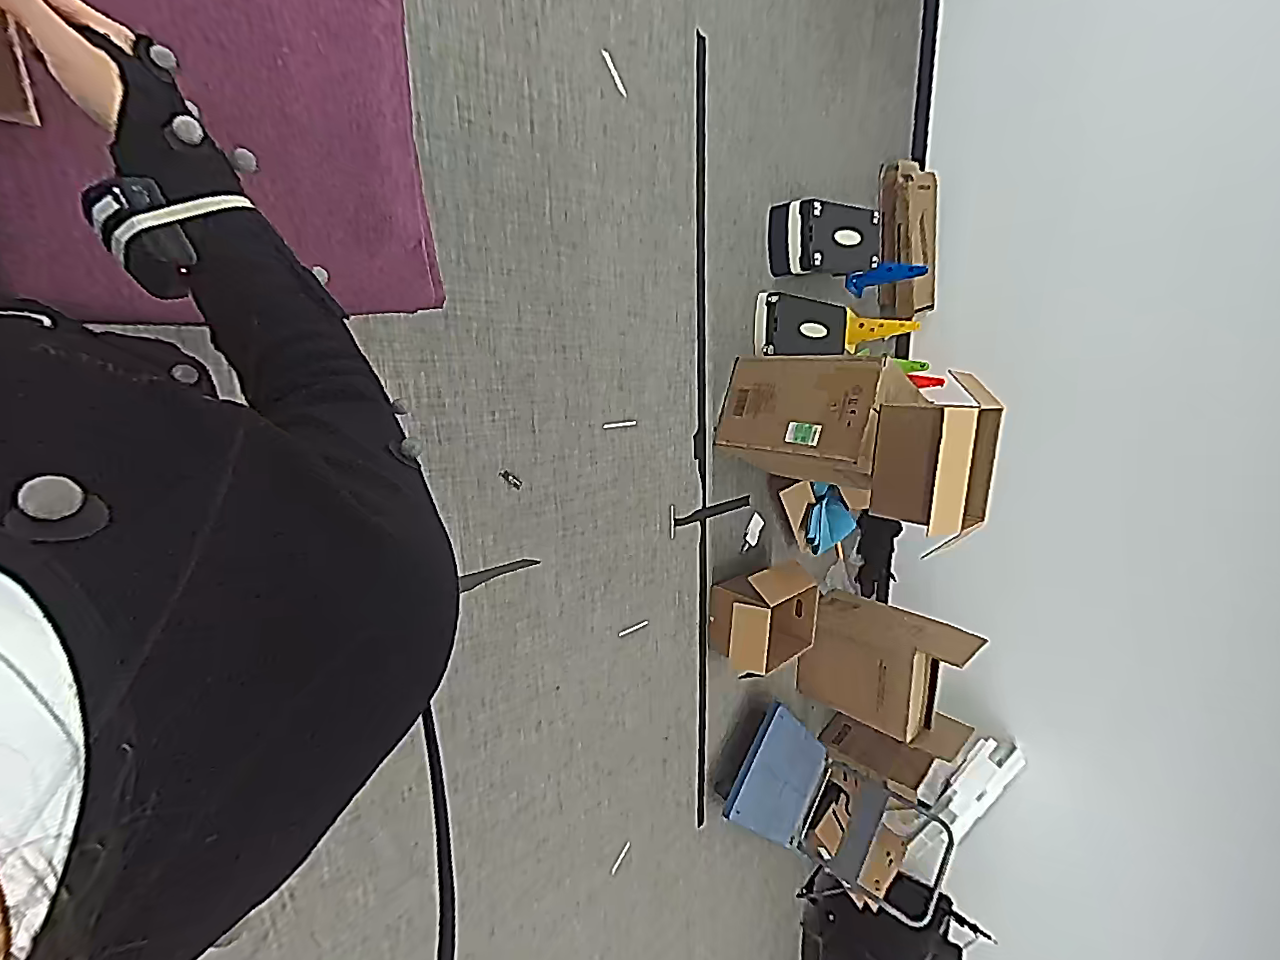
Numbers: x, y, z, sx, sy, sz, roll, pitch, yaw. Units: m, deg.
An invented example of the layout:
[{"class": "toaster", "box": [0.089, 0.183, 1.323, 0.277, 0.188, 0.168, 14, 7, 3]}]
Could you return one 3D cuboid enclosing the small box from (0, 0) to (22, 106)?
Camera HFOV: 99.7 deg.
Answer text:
[{"class": "small box", "box": [-0.485, -0.336, 0.294, 0.179, 0.176, 0.168, -14, 105, -42]}]
